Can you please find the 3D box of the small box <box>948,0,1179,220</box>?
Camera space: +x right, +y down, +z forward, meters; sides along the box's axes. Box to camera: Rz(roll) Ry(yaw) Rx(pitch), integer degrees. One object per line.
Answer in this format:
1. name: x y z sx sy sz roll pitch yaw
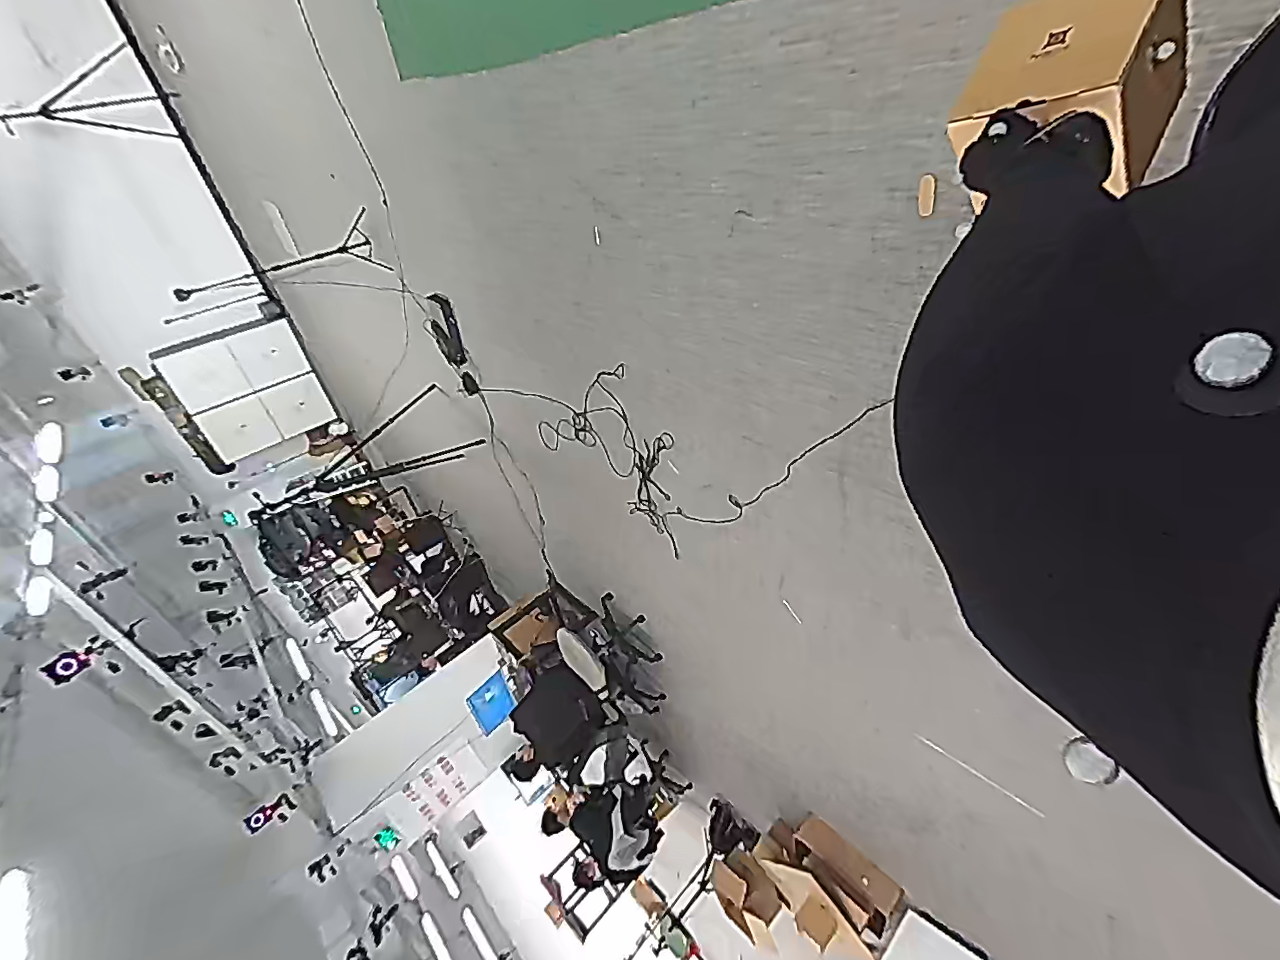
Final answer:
1. small box: 0.512 -0.451 0.655 0.176 0.179 0.168 31 175 -40
